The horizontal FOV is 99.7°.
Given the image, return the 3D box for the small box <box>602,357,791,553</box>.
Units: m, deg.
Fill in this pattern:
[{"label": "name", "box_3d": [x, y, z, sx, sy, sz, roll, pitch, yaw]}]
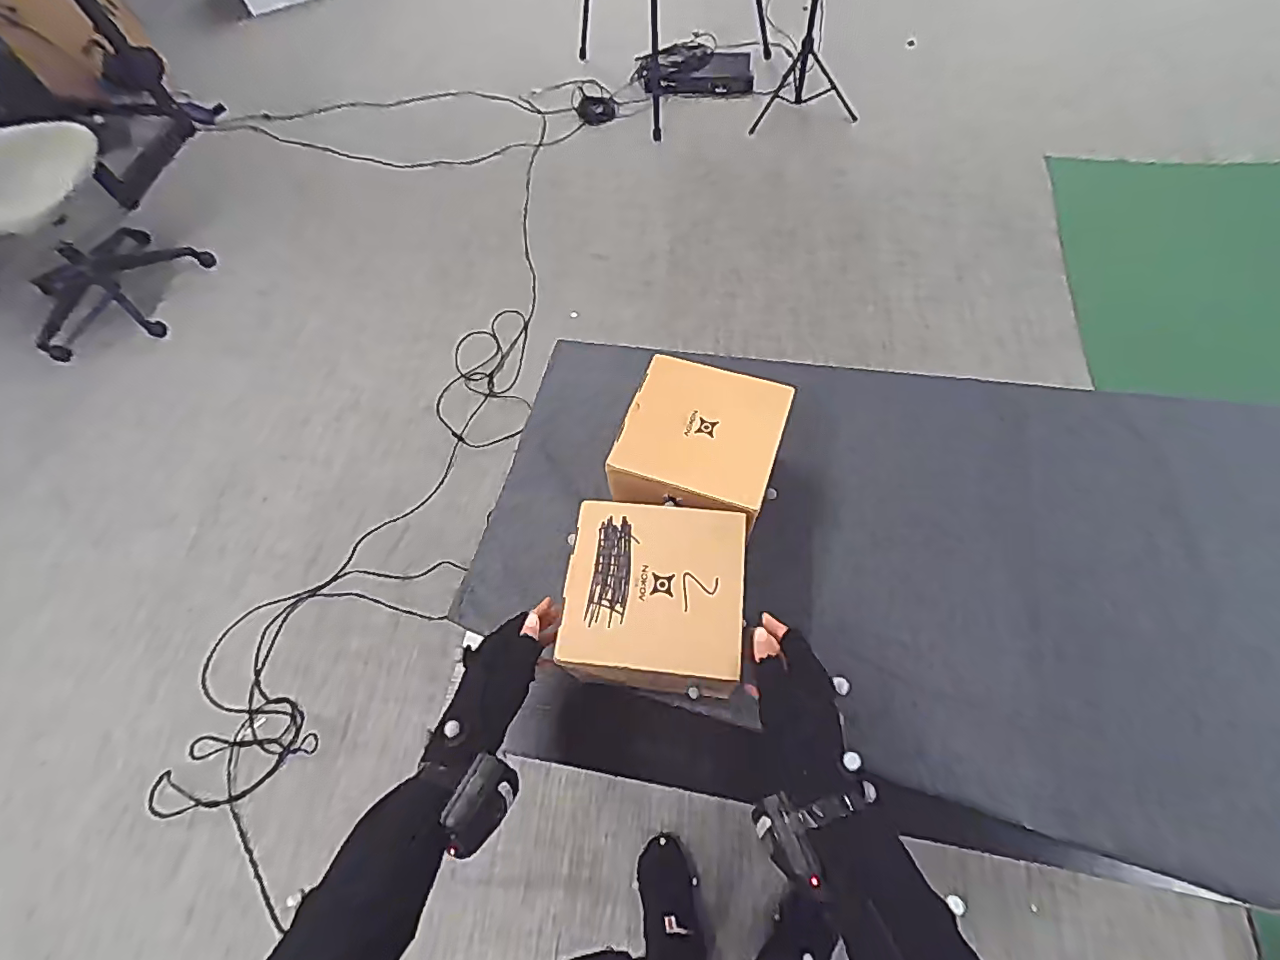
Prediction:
[{"label": "small box", "box_3d": [0.072, -0.023, 0.679, 0.179, 0.176, 0.168, 16, 65, 13]}]
